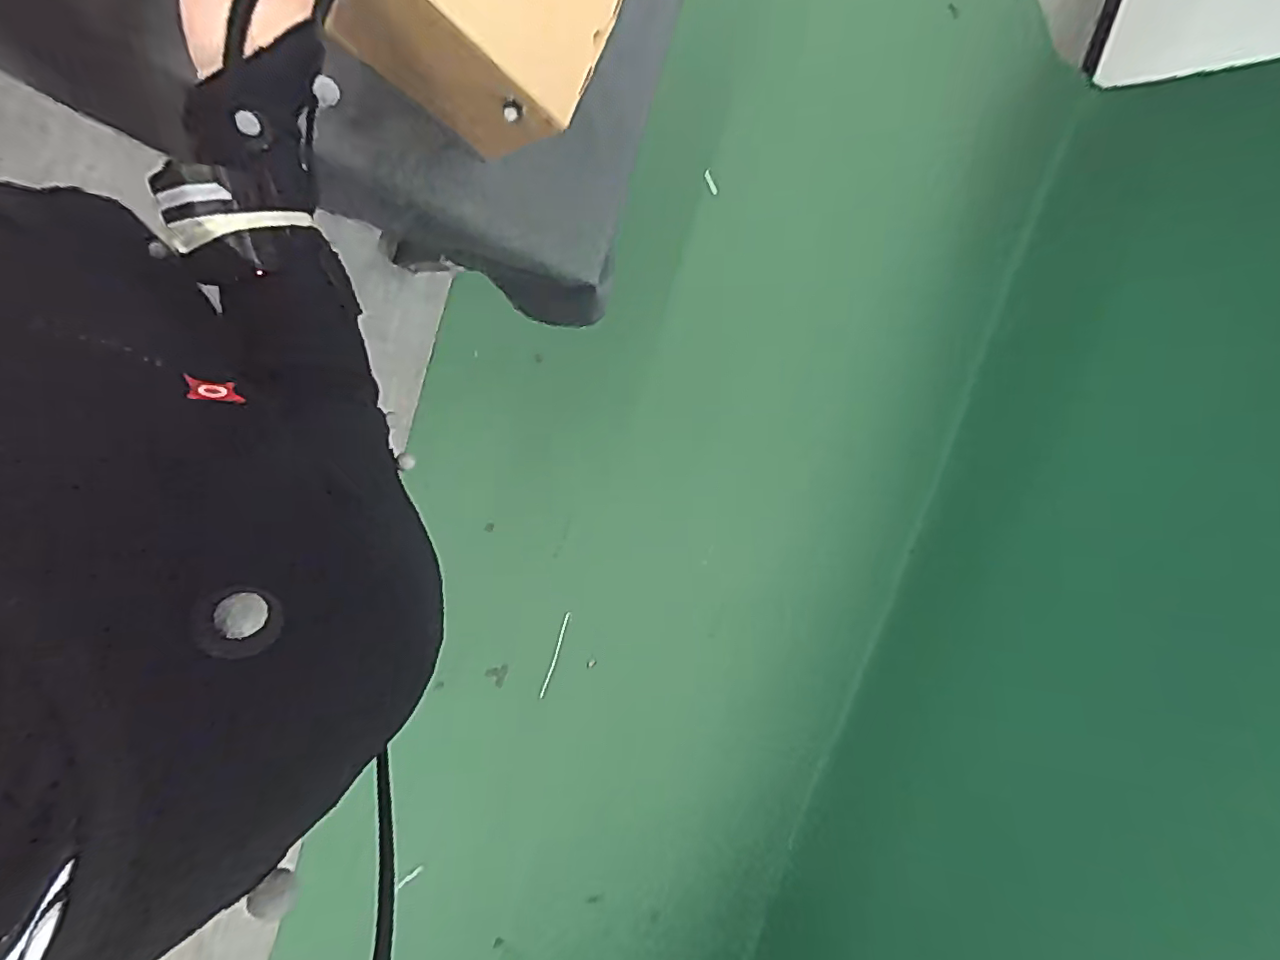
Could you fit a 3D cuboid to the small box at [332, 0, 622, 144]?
[{"bbox_3d":[-0.139,-0.432,0.474,0.179,0.176,0.168,23,91,-44],"label":"small box"}]
